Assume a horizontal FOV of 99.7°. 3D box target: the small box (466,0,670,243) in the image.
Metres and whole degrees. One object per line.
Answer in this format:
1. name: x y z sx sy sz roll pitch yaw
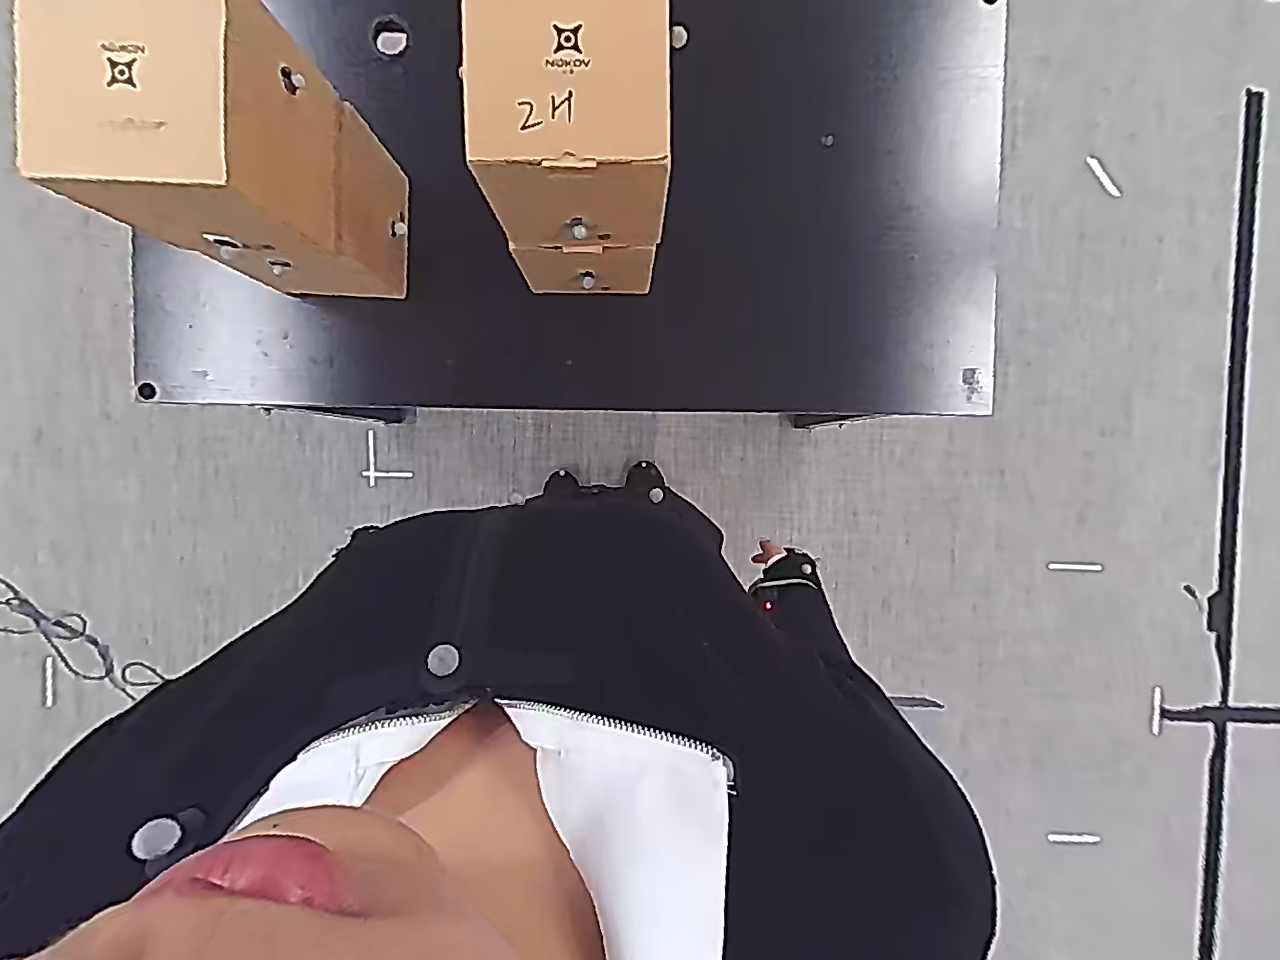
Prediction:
1. small box: -0.060 -0.348 0.513 0.168 0.176 0.179 -1 92 -1

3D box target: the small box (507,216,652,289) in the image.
1. small box: -0.067 -0.349 0.679 0.168 0.176 0.179 0 92 -1

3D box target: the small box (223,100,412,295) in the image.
1. small box: -0.405 -0.337 0.668 0.179 0.176 0.168 2 92 -3

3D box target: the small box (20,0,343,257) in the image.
1. small box: -0.403 -0.330 0.506 0.168 0.176 0.179 1 93 0
